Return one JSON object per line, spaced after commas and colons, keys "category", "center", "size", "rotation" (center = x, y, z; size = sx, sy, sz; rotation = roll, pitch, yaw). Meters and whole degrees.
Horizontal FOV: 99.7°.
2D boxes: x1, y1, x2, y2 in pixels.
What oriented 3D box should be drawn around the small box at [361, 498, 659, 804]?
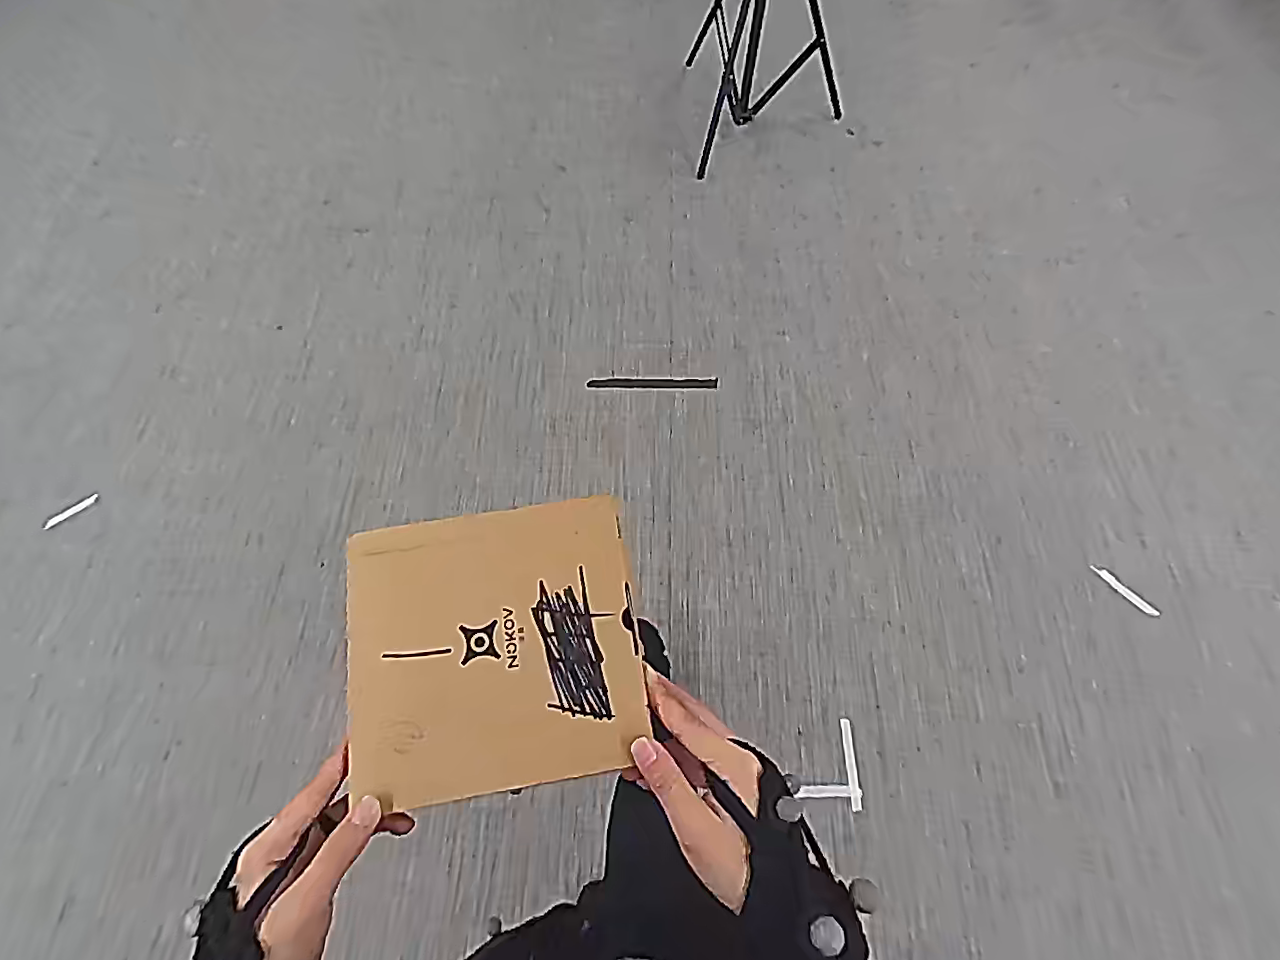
{"category": "small box", "center": [-0.090, 0.122, 0.417], "size": [0.179, 0.176, 0.168], "rotation": [-8, 73, -5]}
